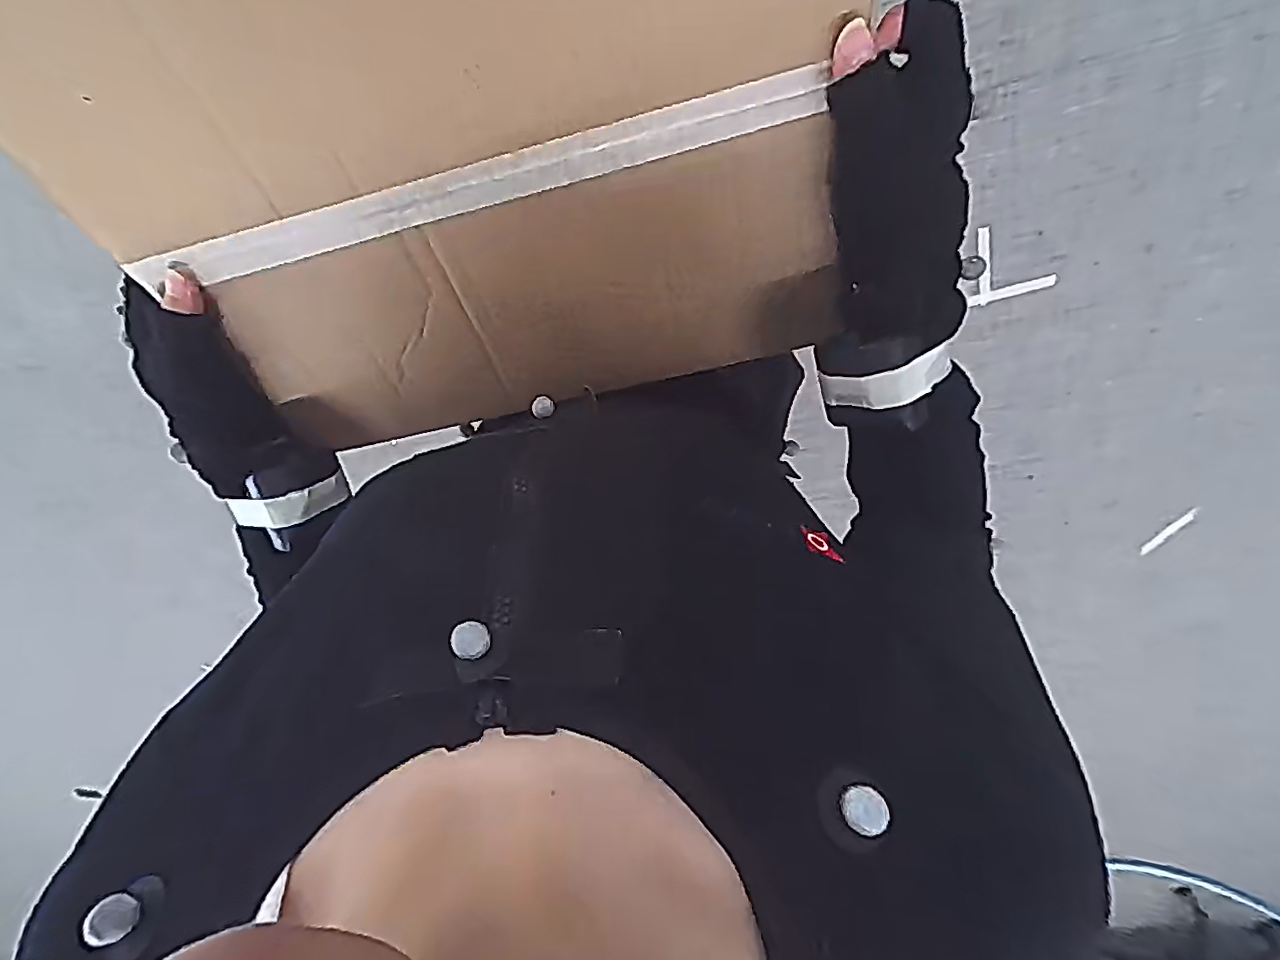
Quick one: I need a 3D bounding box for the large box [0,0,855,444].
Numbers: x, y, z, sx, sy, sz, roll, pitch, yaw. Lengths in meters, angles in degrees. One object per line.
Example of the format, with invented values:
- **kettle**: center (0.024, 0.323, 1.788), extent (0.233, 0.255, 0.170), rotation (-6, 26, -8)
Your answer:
- **large box**: center (-0.097, -0.275, 0.386), extent (0.408, 0.320, 0.320), rotation (-12, 141, 8)
